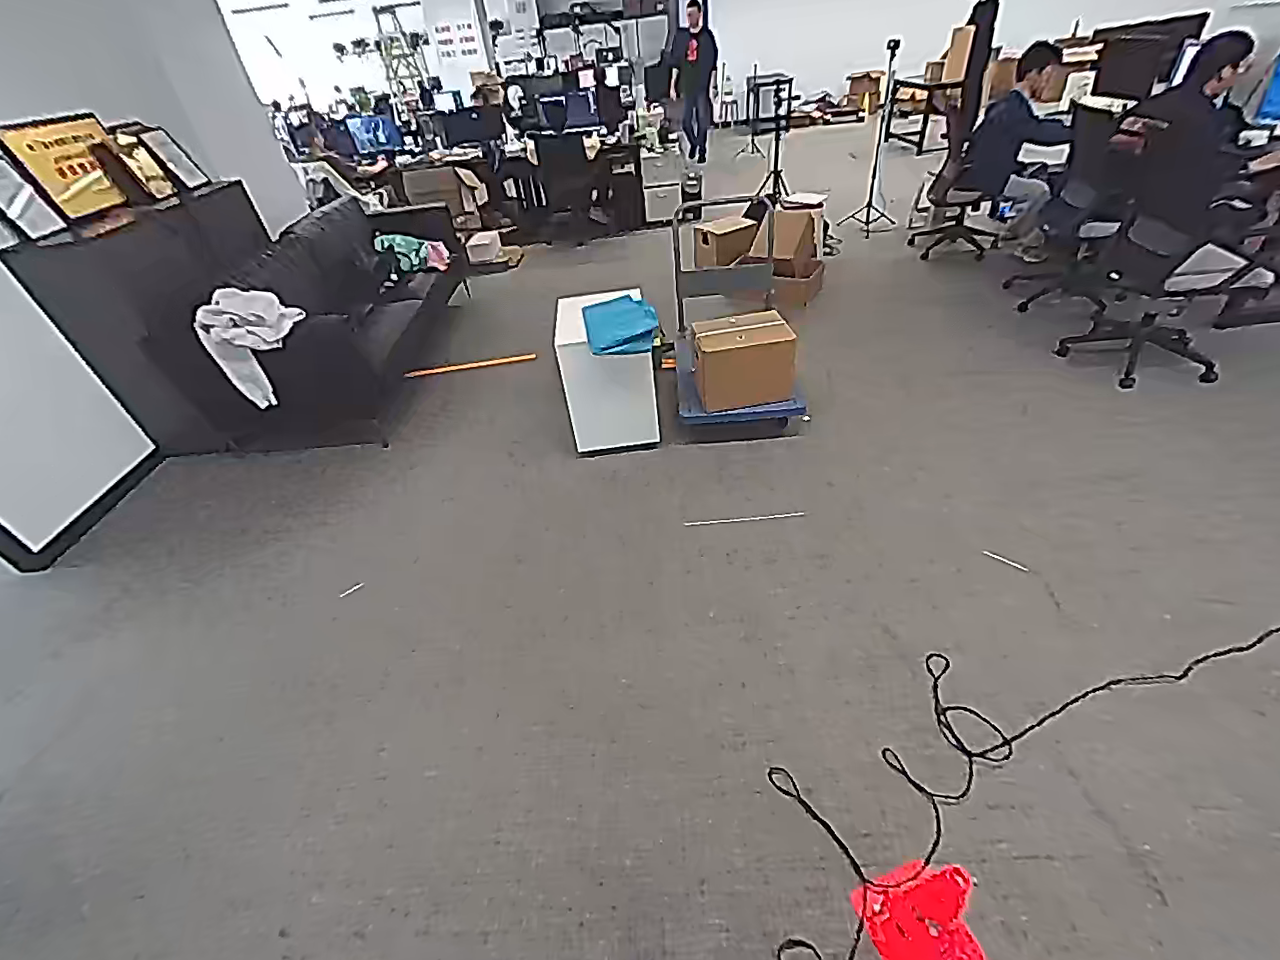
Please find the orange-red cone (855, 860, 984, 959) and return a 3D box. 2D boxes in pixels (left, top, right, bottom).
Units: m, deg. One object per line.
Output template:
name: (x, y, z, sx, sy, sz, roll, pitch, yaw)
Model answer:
orange-red cone: (0.576, 0.826, 1.051, 0.198, 0.360, 0.199, -17, 41, -10)
